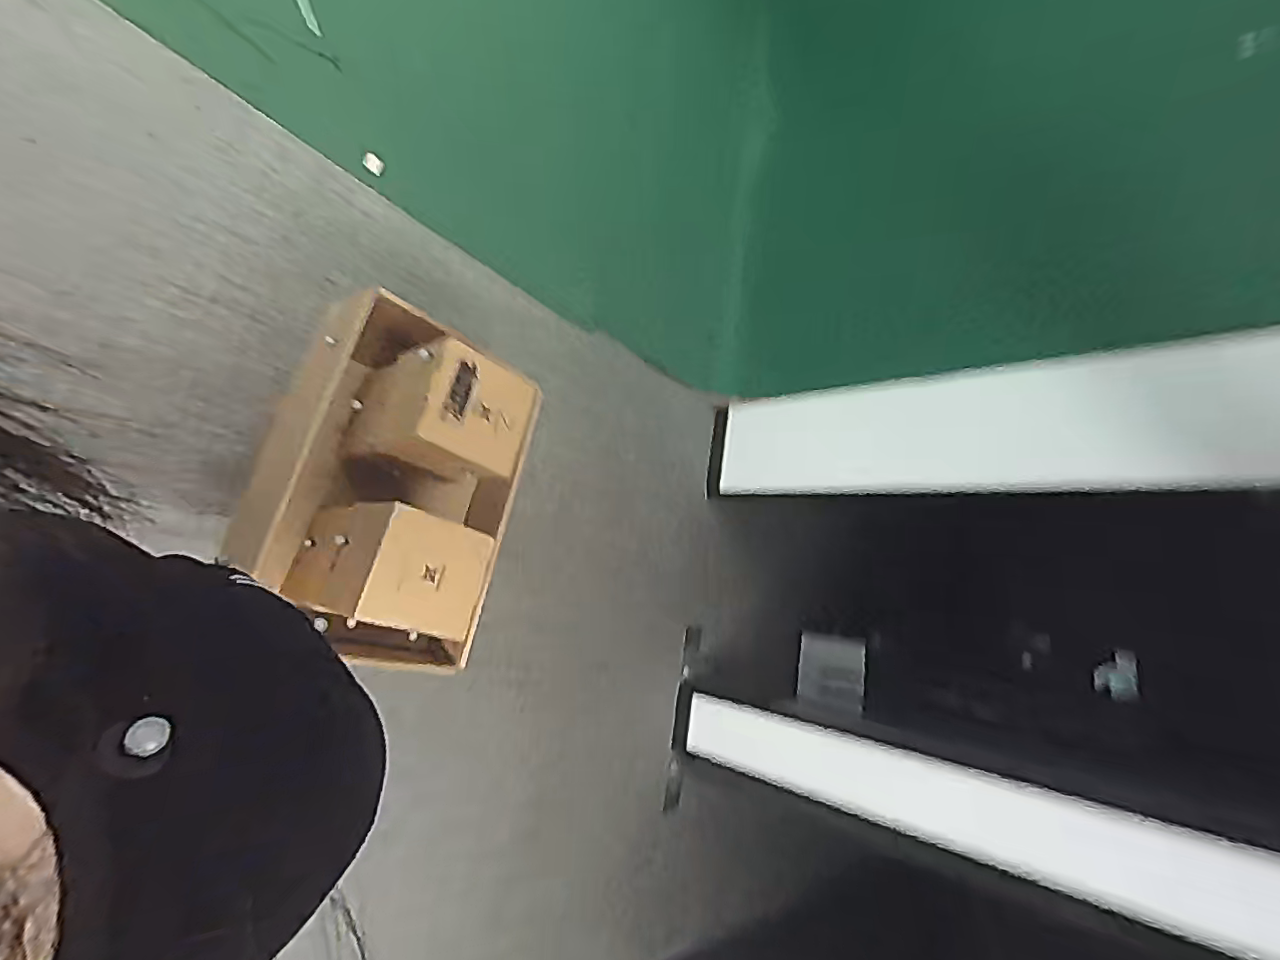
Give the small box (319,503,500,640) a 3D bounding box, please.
[{"bbox_3d":[-0.357,0.139,0.844,0.179,0.176,0.168,32,65,-42],"label":"small box"}]
